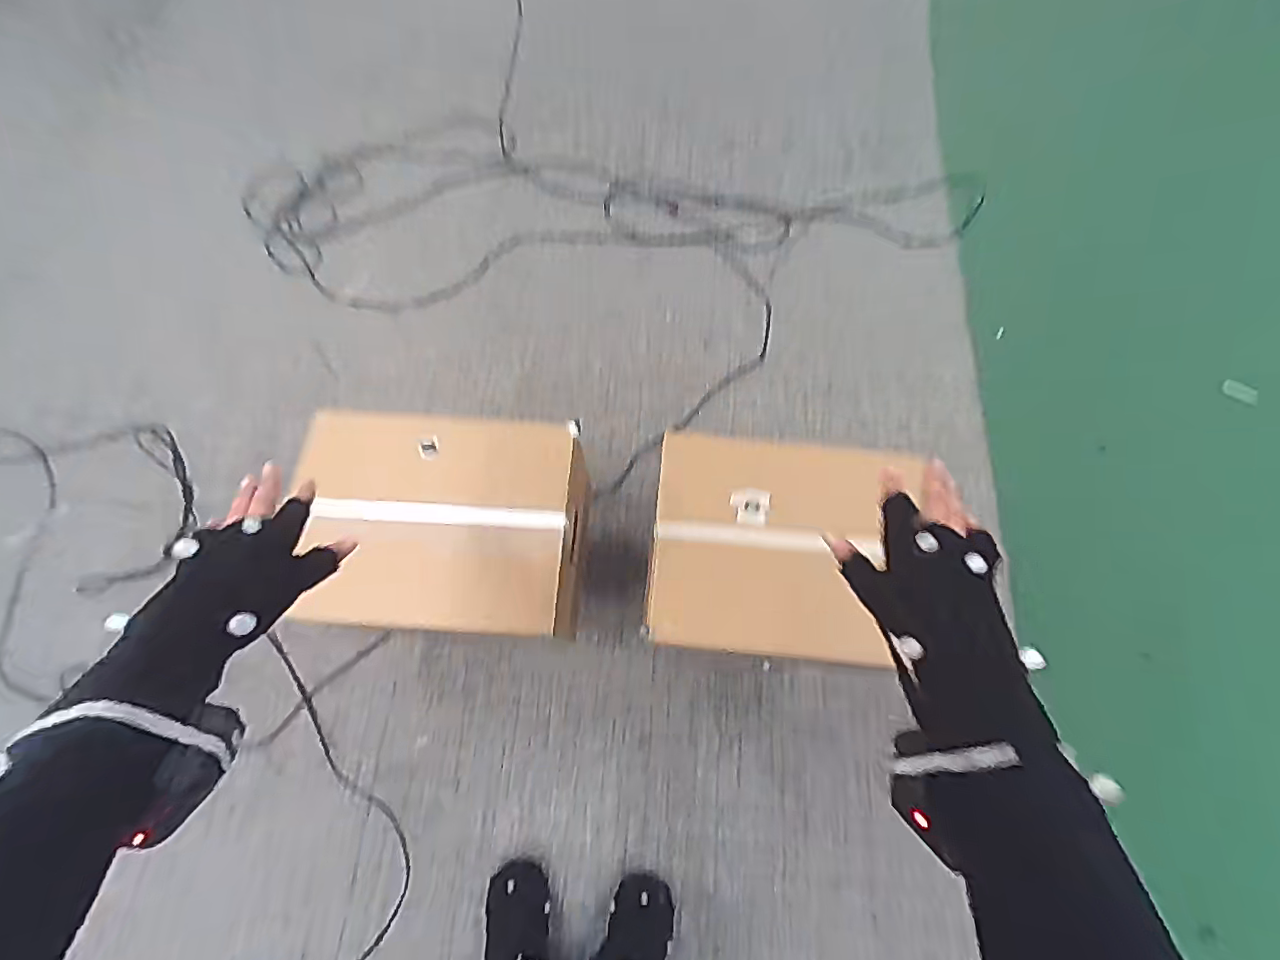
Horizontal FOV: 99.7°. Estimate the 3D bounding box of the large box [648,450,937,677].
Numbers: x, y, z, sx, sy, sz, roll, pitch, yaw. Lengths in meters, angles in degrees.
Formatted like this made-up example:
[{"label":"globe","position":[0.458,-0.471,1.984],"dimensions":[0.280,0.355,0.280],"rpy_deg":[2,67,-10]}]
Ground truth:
[{"label":"large box","position":[0.229,0.159,0.940],"dimensions":[0.408,0.320,0.320],"rpy_deg":[6,70,2]}]
